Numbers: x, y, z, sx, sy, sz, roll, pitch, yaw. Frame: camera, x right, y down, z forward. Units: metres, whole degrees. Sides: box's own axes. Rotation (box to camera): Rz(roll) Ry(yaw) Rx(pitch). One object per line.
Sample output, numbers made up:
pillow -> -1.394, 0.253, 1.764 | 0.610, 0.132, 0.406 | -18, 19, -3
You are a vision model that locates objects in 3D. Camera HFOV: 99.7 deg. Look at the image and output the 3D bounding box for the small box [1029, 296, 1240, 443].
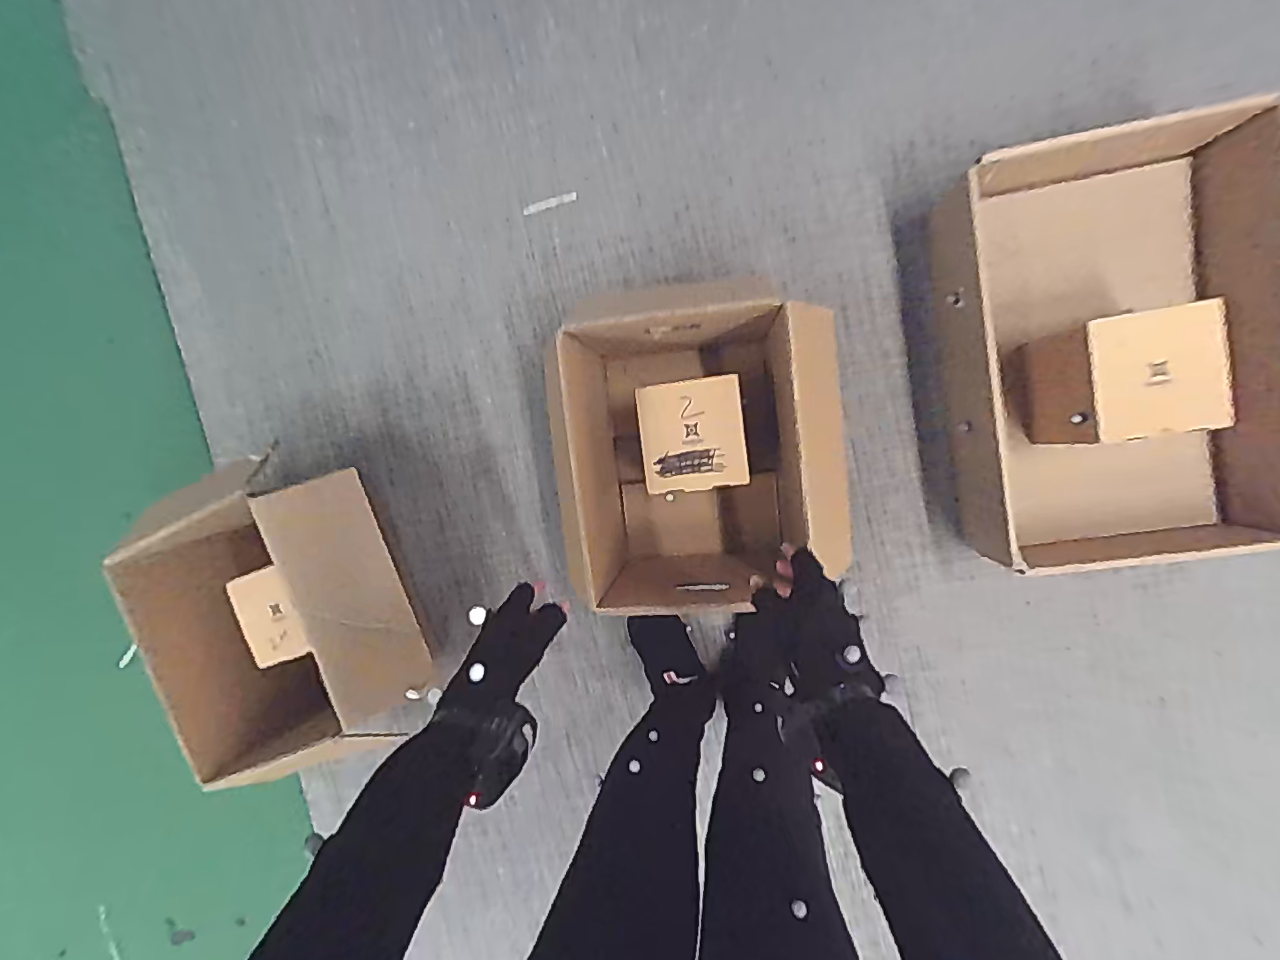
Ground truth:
small box -> 0.718, -0.153, 0.808 | 0.168, 0.176, 0.179 | -9, 93, 9
